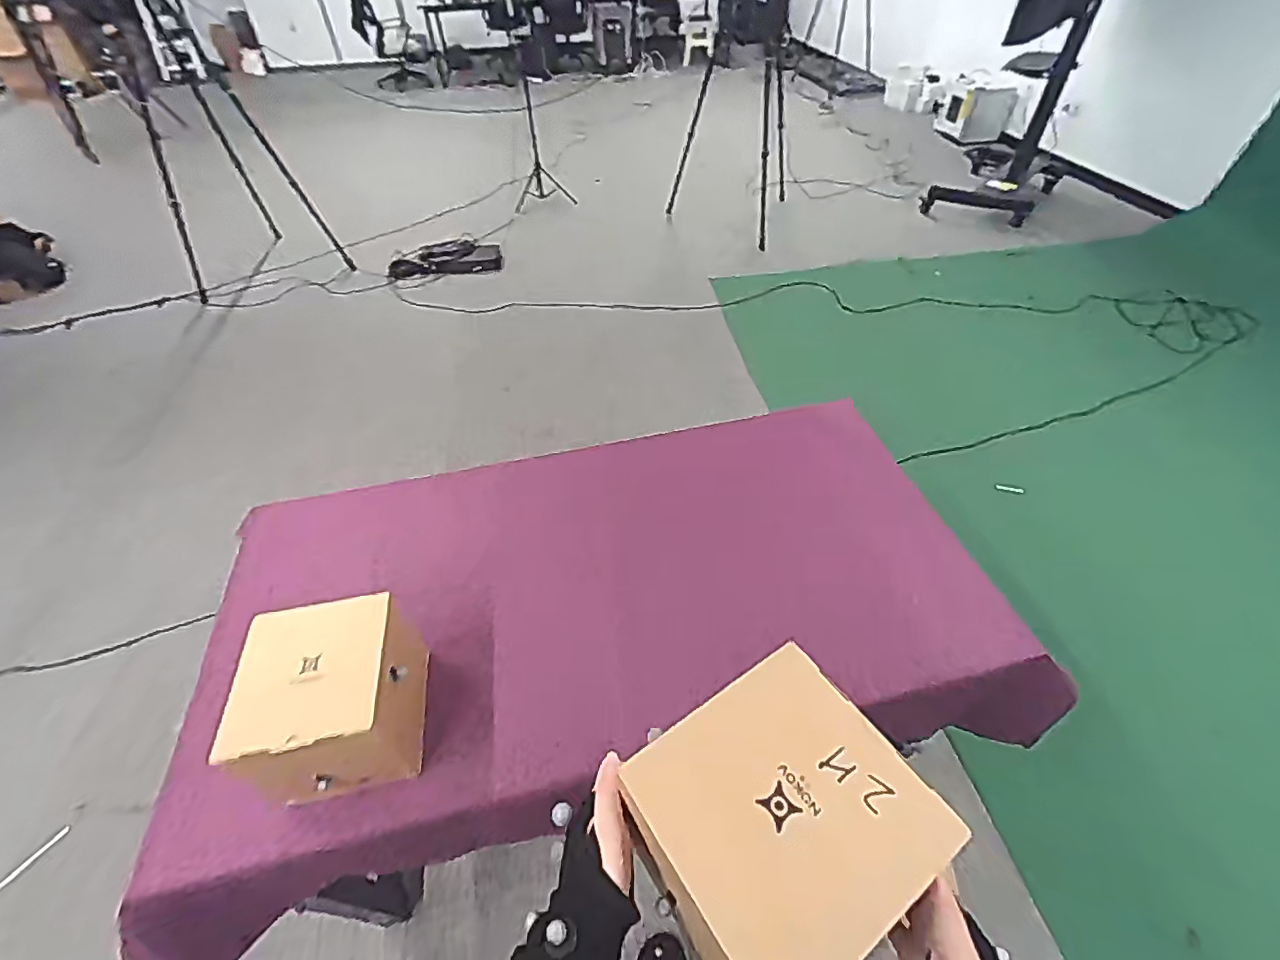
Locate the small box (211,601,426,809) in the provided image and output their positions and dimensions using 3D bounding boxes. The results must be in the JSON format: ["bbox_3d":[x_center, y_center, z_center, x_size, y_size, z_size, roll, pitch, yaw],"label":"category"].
[{"bbox_3d":[-0.379,0.282,0.680,0.168,0.176,0.179,-10,48,-8],"label":"small box"}]
